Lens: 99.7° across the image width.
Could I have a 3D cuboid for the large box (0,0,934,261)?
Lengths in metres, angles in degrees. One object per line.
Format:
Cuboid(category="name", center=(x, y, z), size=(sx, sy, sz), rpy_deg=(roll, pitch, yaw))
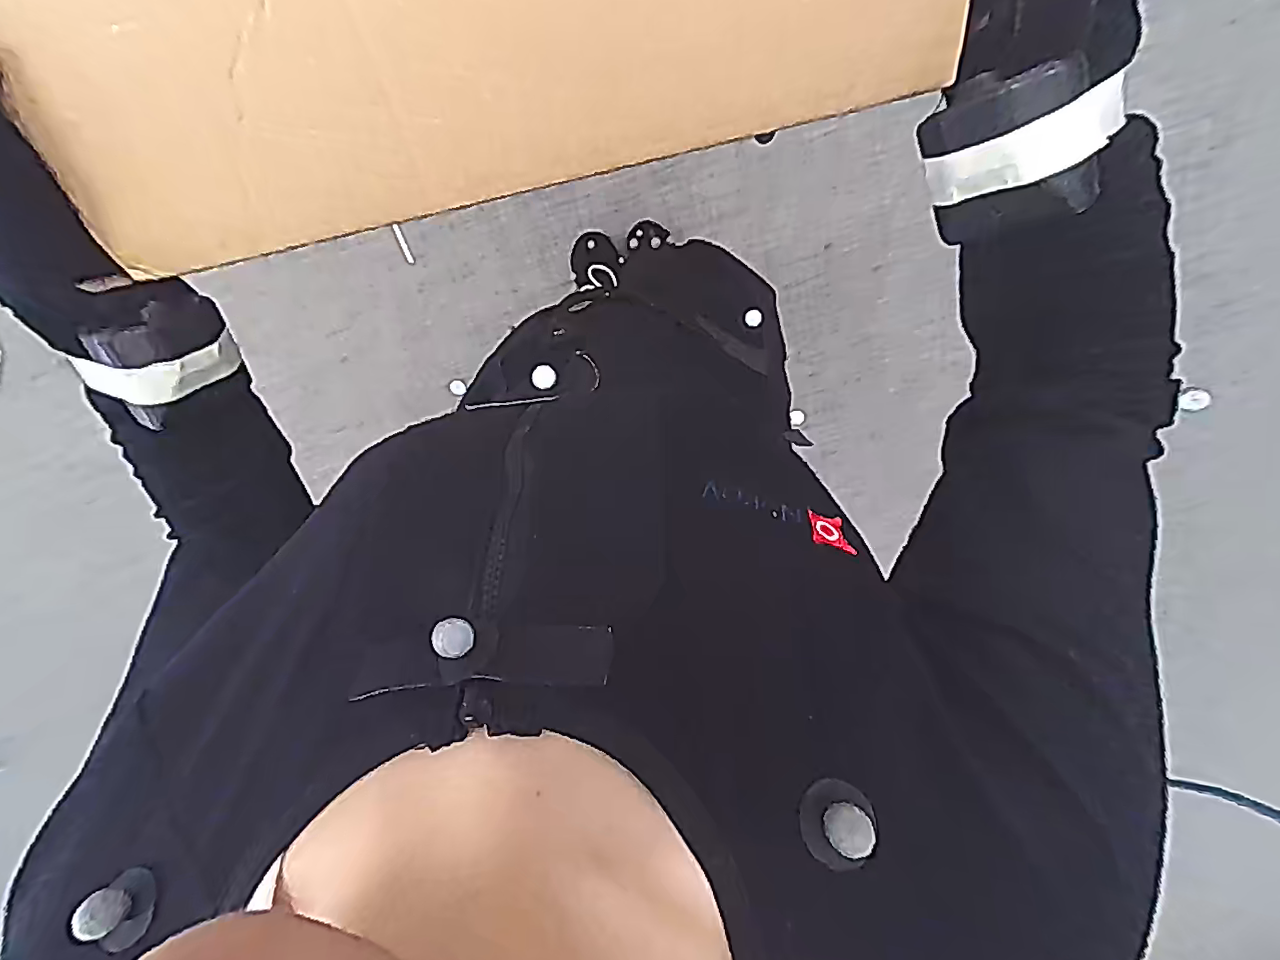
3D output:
Cuboid(category="large box", center=(-0.101, -0.361, 0.270), size=(0.408, 0.320, 0.320), rpy_deg=(-10, 132, 6))
